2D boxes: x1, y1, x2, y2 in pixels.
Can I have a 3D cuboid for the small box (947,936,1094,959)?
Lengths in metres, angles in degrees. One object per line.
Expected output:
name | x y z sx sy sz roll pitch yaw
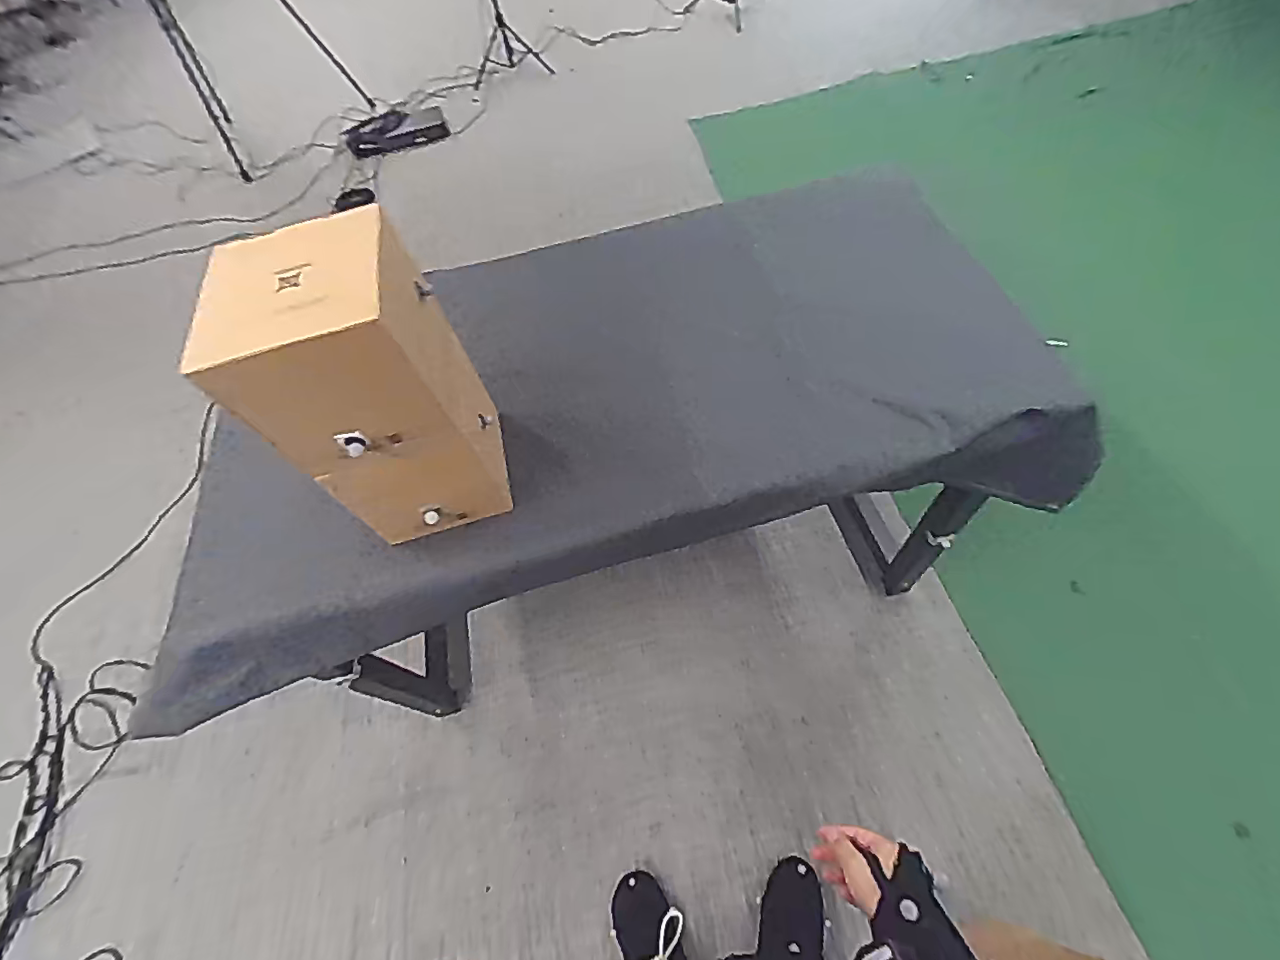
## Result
small box | 0.556 0.756 0.737 0.179 0.176 0.168 -13 58 0

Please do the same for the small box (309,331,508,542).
small box | -0.278 -0.049 0.676 0.168 0.176 0.179 -17 59 -2

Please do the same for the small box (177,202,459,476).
small box | -0.297 -0.133 0.538 0.168 0.176 0.179 -18 59 -2
